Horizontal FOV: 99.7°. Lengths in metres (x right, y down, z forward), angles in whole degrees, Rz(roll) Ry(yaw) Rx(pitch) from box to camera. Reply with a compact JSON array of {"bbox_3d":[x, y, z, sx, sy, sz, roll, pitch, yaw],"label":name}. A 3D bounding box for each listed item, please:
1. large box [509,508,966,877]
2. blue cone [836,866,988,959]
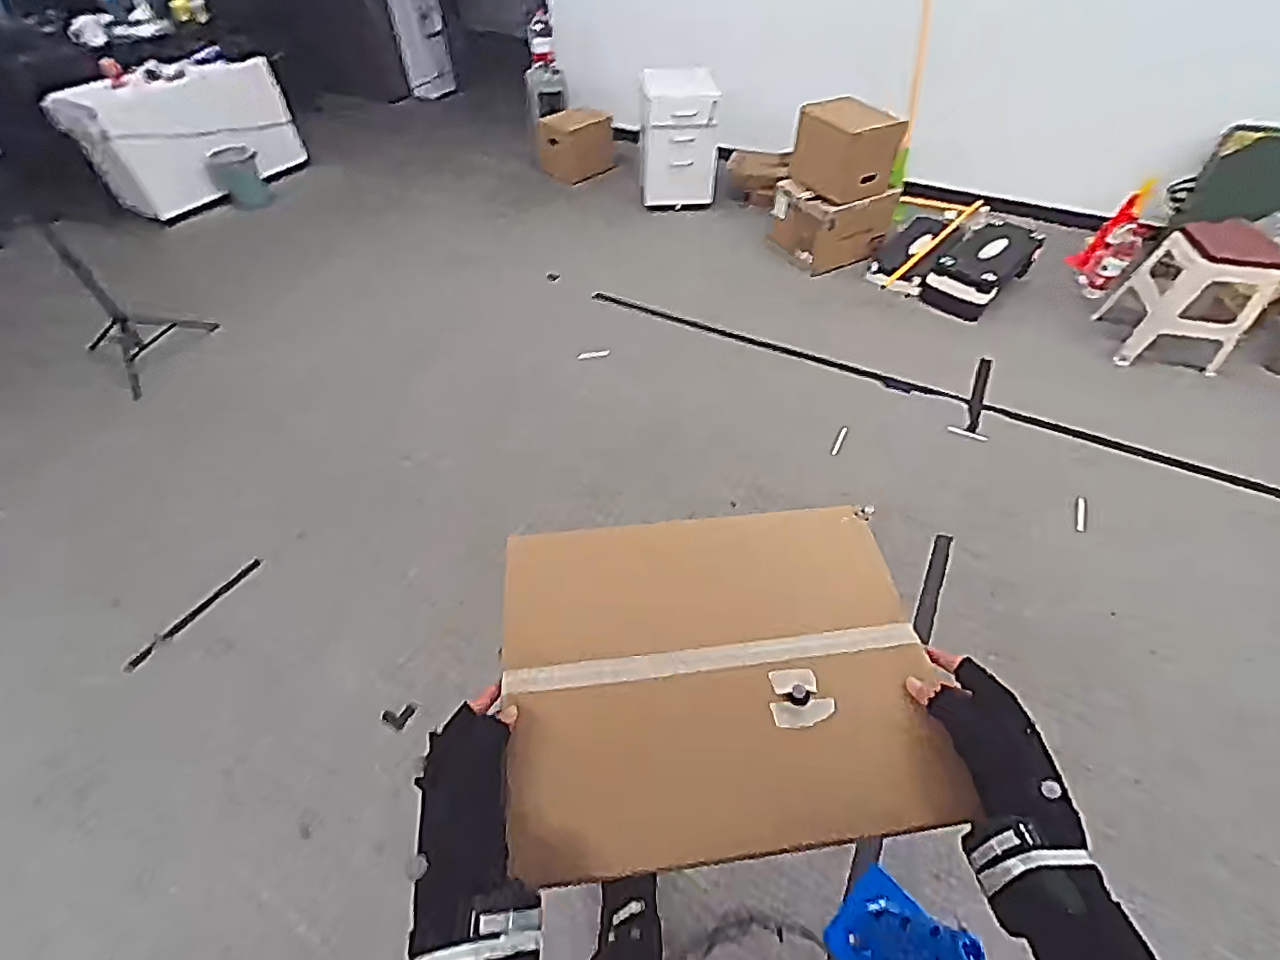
[{"bbox_3d":[0.068,0.262,0.658,0.408,0.320,0.320,-5,54,-5],"label":"large box"},{"bbox_3d":[0.521,0.832,0.986,0.192,0.380,0.193,-33,57,-25],"label":"blue cone"}]
